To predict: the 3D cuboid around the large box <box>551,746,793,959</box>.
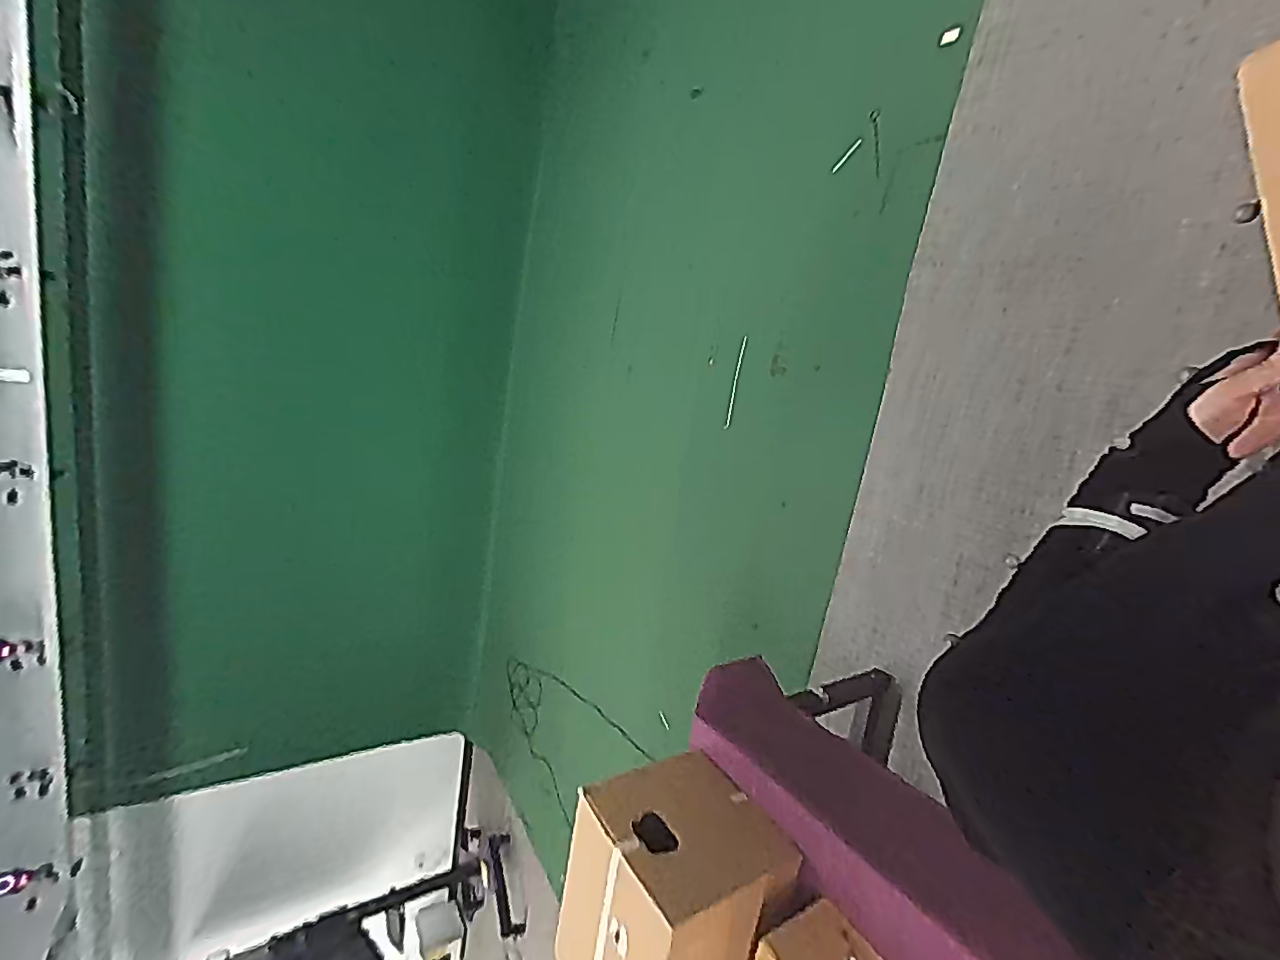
[{"bbox_3d":[0.051,0.824,1.067,0.320,0.320,0.408,24,107,52],"label":"large box"}]
